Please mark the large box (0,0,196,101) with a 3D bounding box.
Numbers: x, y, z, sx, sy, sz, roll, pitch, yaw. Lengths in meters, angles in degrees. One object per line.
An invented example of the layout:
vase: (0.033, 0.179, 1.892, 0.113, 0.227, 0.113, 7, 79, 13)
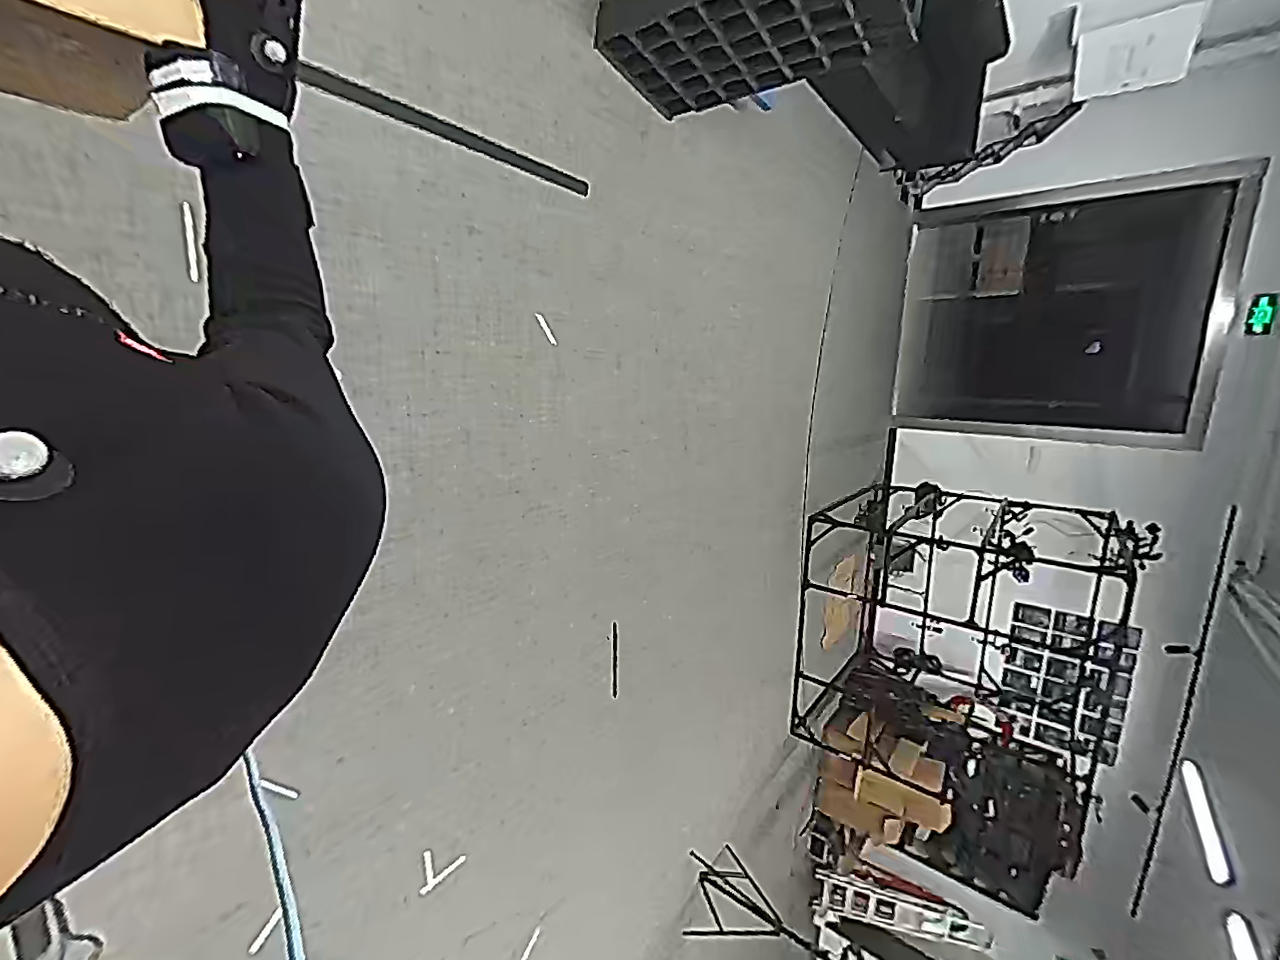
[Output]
large box: (-0.542, -0.463, 0.280, 0.408, 0.320, 0.320, -14, 116, -49)
